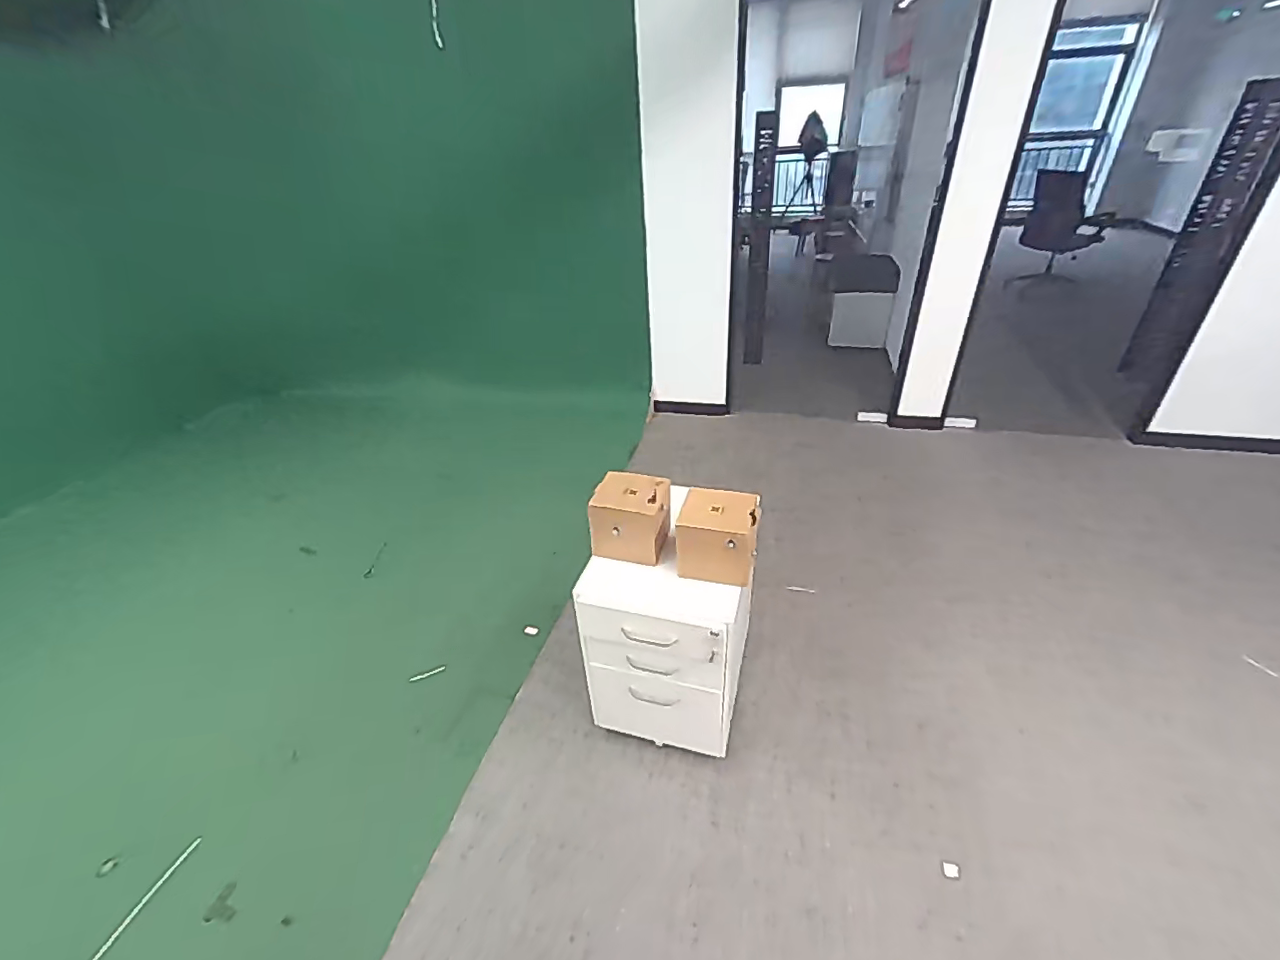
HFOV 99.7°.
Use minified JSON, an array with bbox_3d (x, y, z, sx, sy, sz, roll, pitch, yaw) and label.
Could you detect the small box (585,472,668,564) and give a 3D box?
[{"bbox_3d":[-0.030,0.099,1.418,0.179,0.176,0.168,7,35,15],"label":"small box"}]
